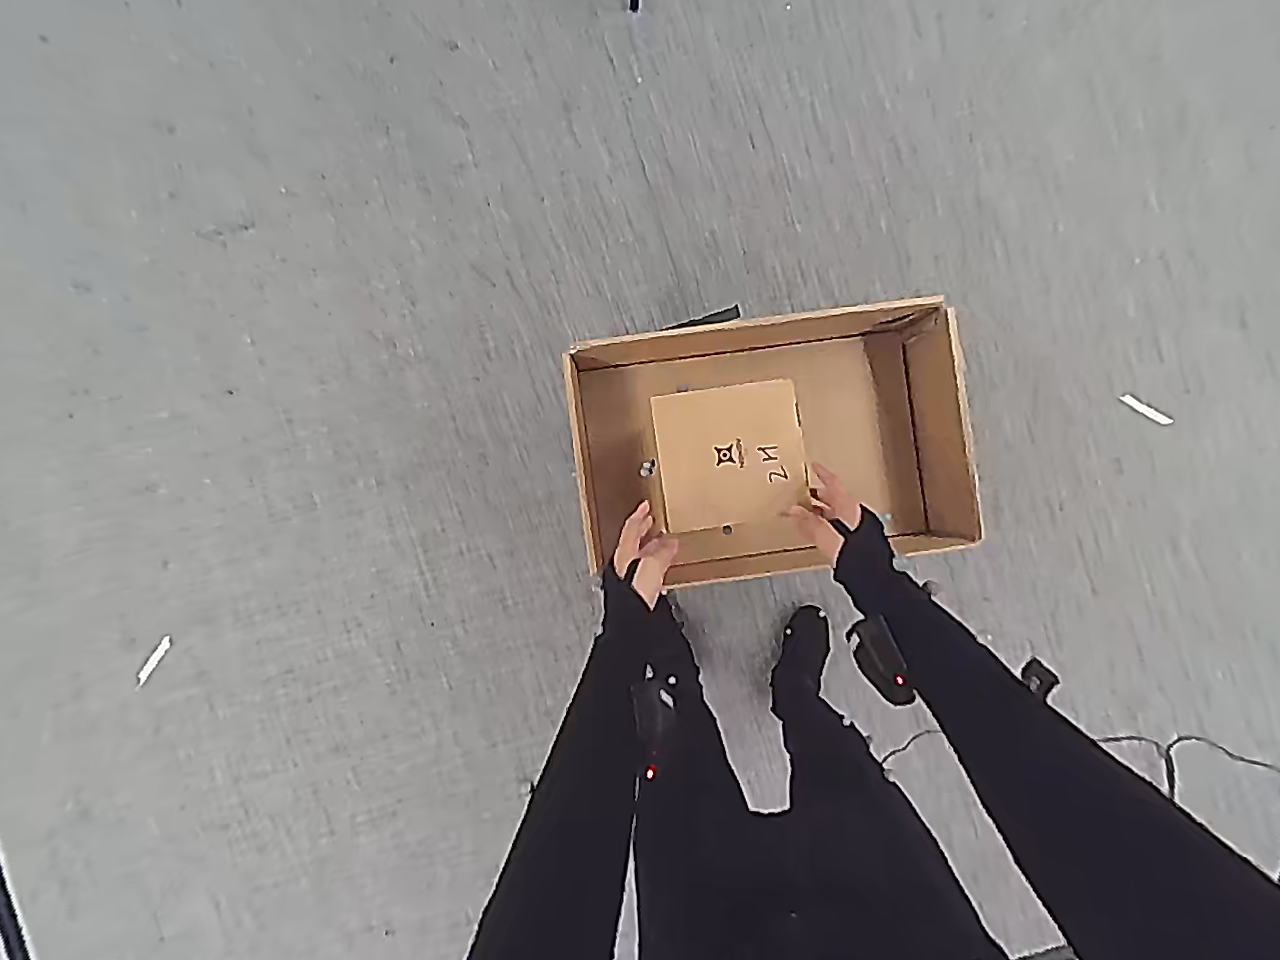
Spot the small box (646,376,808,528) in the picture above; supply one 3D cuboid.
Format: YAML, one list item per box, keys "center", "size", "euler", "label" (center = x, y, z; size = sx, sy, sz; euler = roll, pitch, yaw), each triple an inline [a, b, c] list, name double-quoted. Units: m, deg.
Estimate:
- center: [0.102, -0.032, 0.712]
  size: [0.179, 0.176, 0.168]
  euler: [-7, 90, -2]
  label: "small box"
